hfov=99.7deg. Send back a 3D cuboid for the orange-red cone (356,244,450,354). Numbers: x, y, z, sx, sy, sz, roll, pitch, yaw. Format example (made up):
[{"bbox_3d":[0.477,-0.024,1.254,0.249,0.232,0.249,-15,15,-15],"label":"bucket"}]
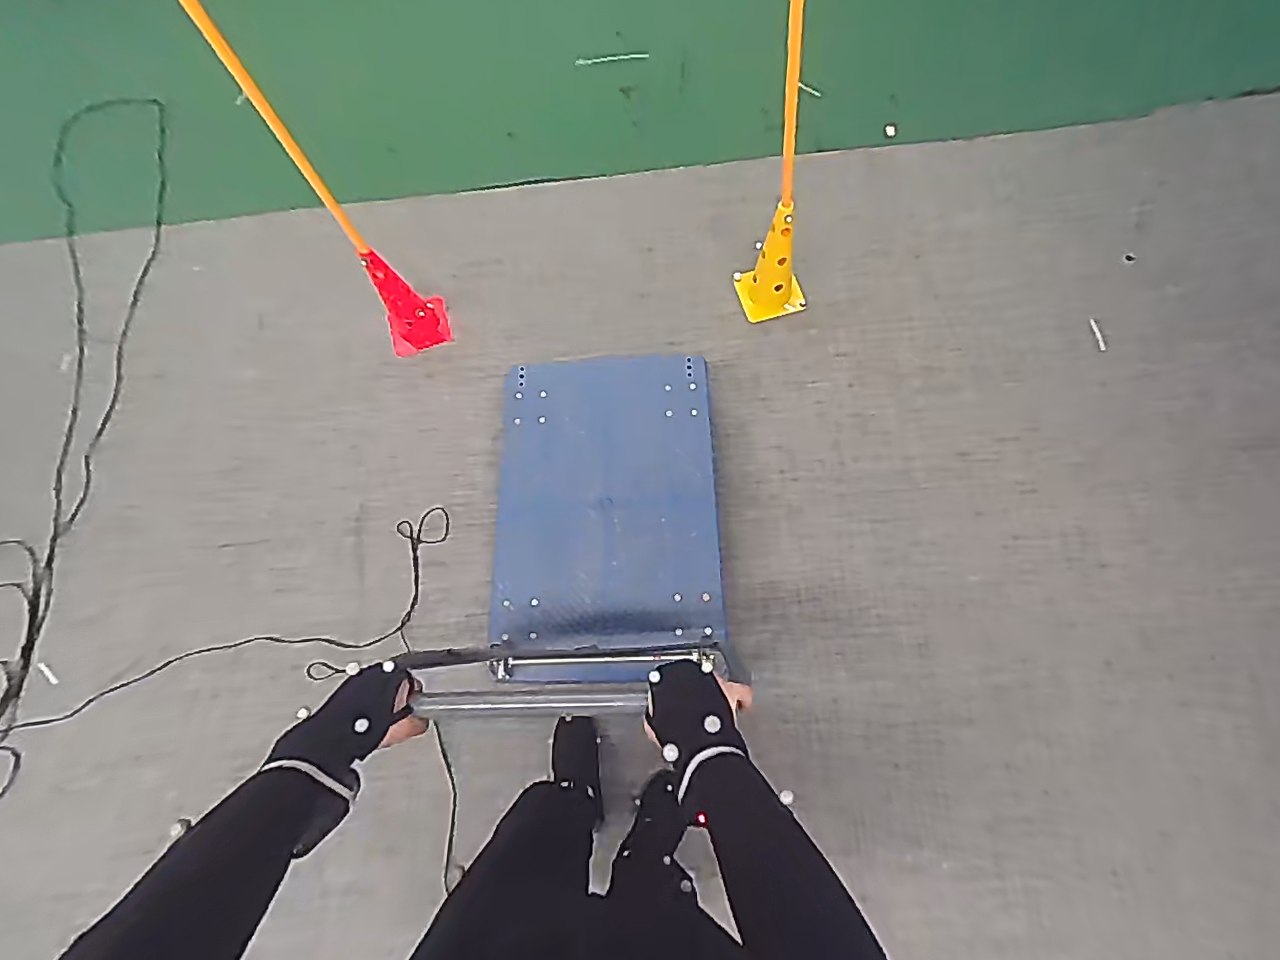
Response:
[{"bbox_3d":[-0.766,-0.587,1.680,0.199,0.360,0.198,-19,69,-1],"label":"orange-red cone"}]
